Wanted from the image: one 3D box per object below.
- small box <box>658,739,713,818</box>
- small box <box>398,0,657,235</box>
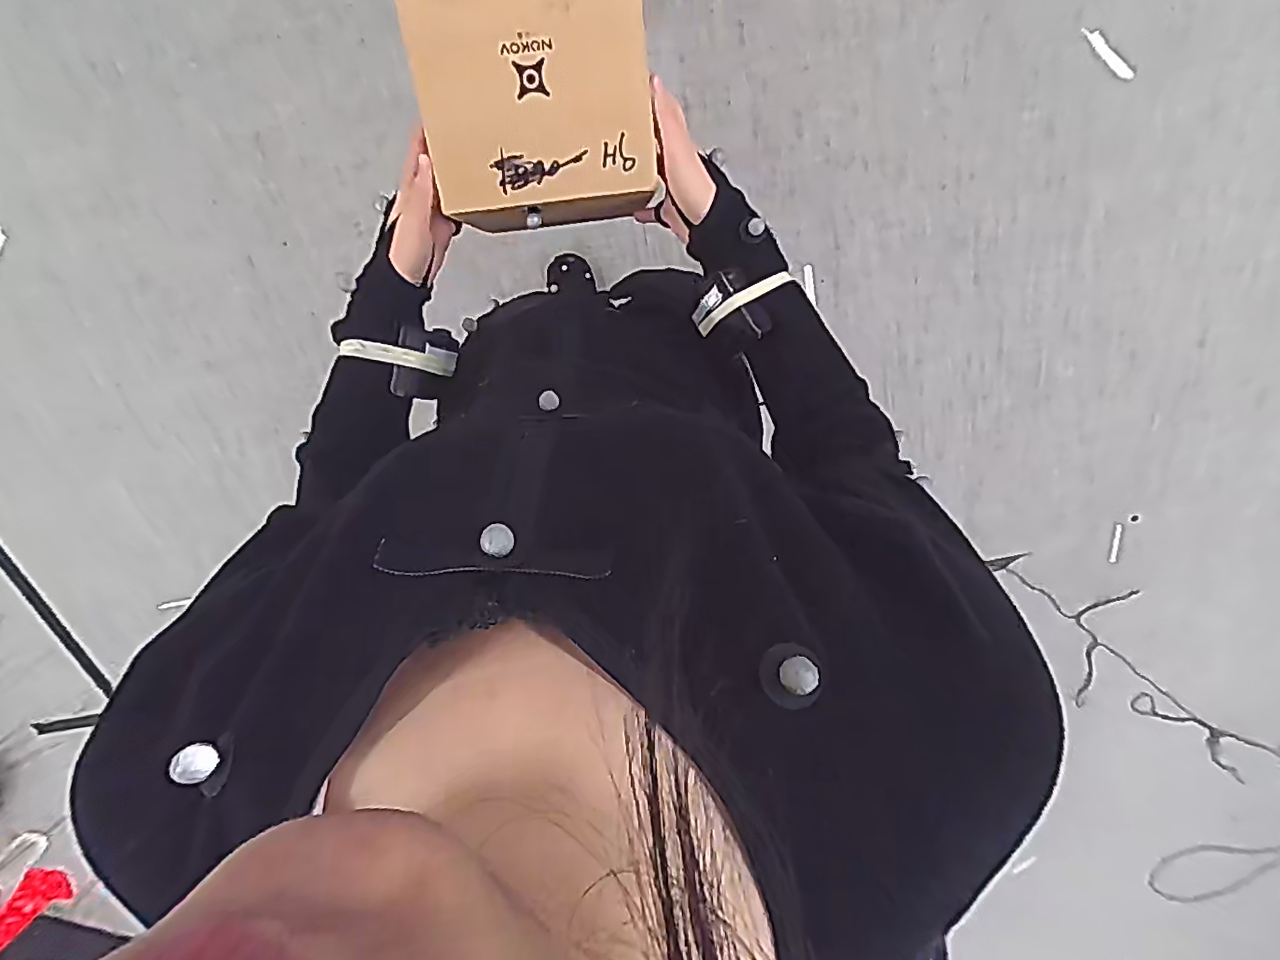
[{"bbox_3d":[0.164,1.077,1.956,0.168,0.176,0.179,-12,113,3],"label":"small box"},{"bbox_3d":[-0.083,-0.314,0.451,0.168,0.176,0.179,-8,110,-2],"label":"small box"}]
